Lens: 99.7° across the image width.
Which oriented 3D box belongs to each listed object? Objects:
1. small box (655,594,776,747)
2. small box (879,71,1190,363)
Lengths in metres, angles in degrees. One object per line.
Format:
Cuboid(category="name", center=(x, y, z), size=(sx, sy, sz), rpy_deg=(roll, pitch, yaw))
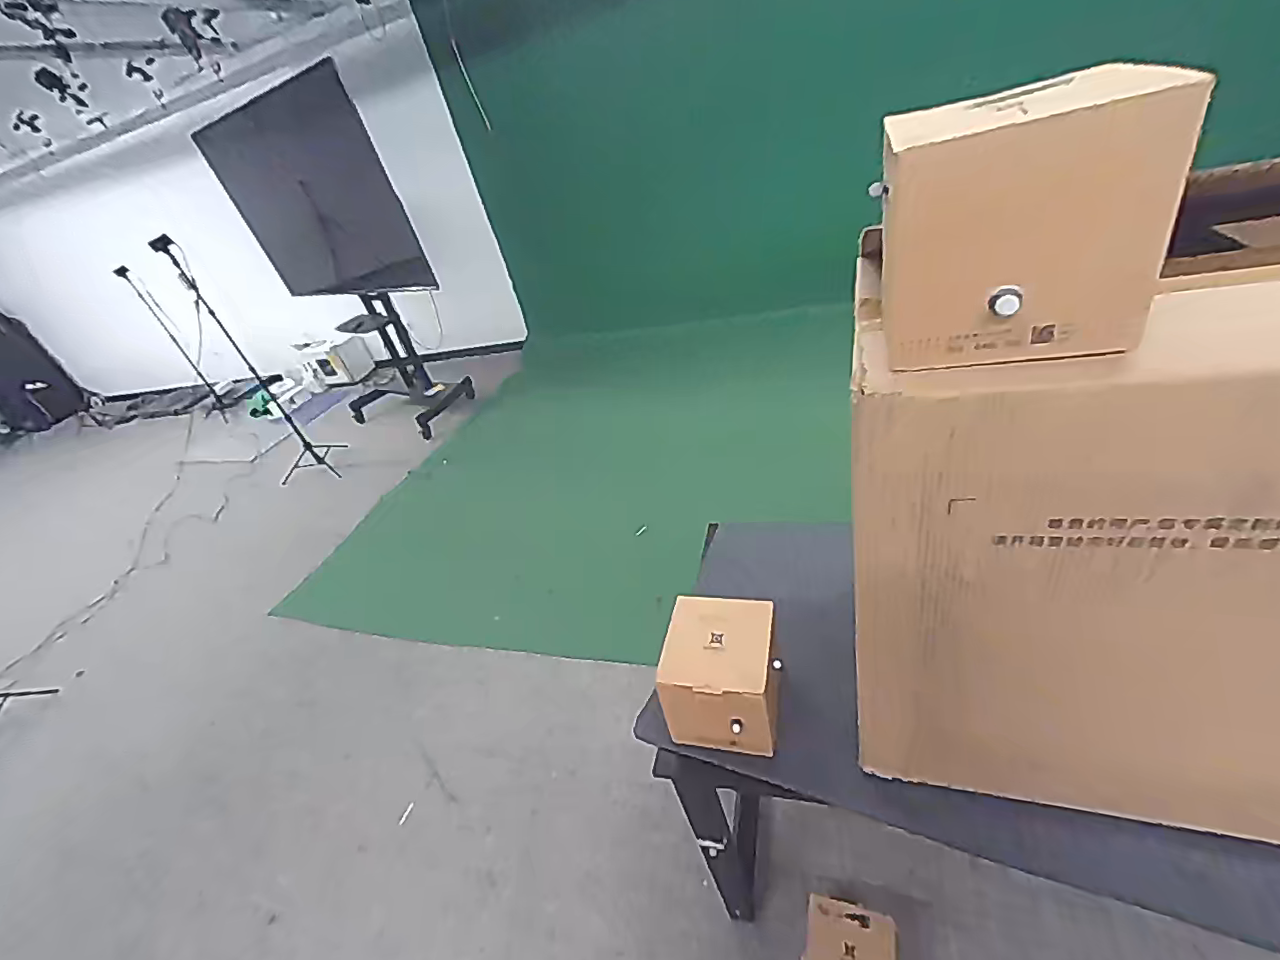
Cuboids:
Cuboid(category="small box", center=(0.136, 0.314, 0.900), size=(0.168, 0.176, 0.179), rpy_deg=(-1, 34, 18))
Cuboid(category="small box", center=(0.292, -0.214, 0.453), size=(0.168, 0.176, 0.179), rpy_deg=(-2, 37, 23))
